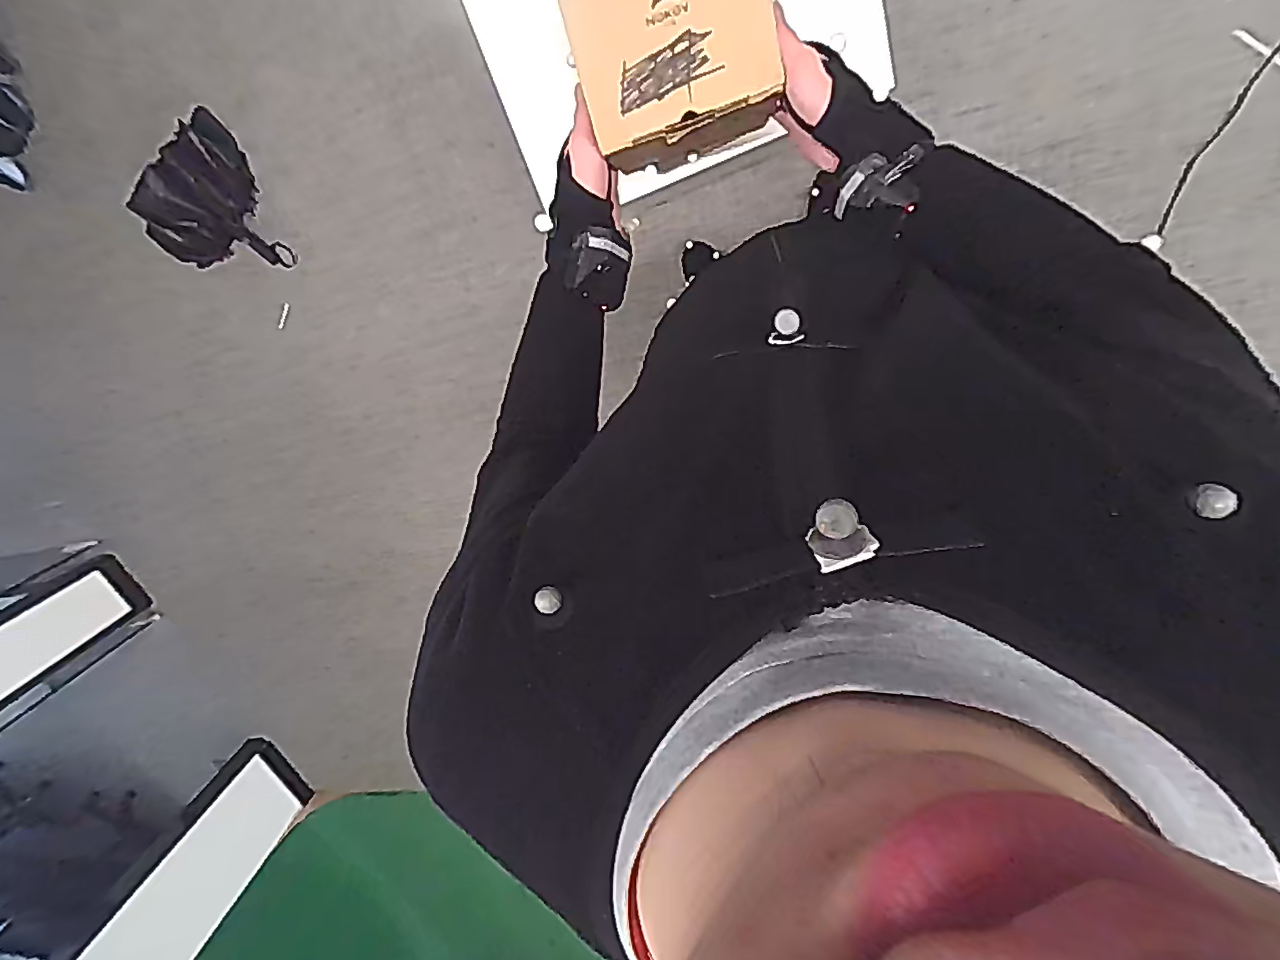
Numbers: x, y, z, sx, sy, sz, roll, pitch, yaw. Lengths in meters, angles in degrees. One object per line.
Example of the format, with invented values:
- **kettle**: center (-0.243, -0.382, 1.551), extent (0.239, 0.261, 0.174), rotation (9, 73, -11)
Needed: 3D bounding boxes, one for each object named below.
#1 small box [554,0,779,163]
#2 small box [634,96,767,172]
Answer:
- **small box**: center (0.024, -0.416, 0.502), extent (0.168, 0.176, 0.179), rotation (-14, 111, 12)
- **small box**: center (0.049, -0.504, 0.661), extent (0.168, 0.176, 0.179), rotation (-17, 112, 20)
